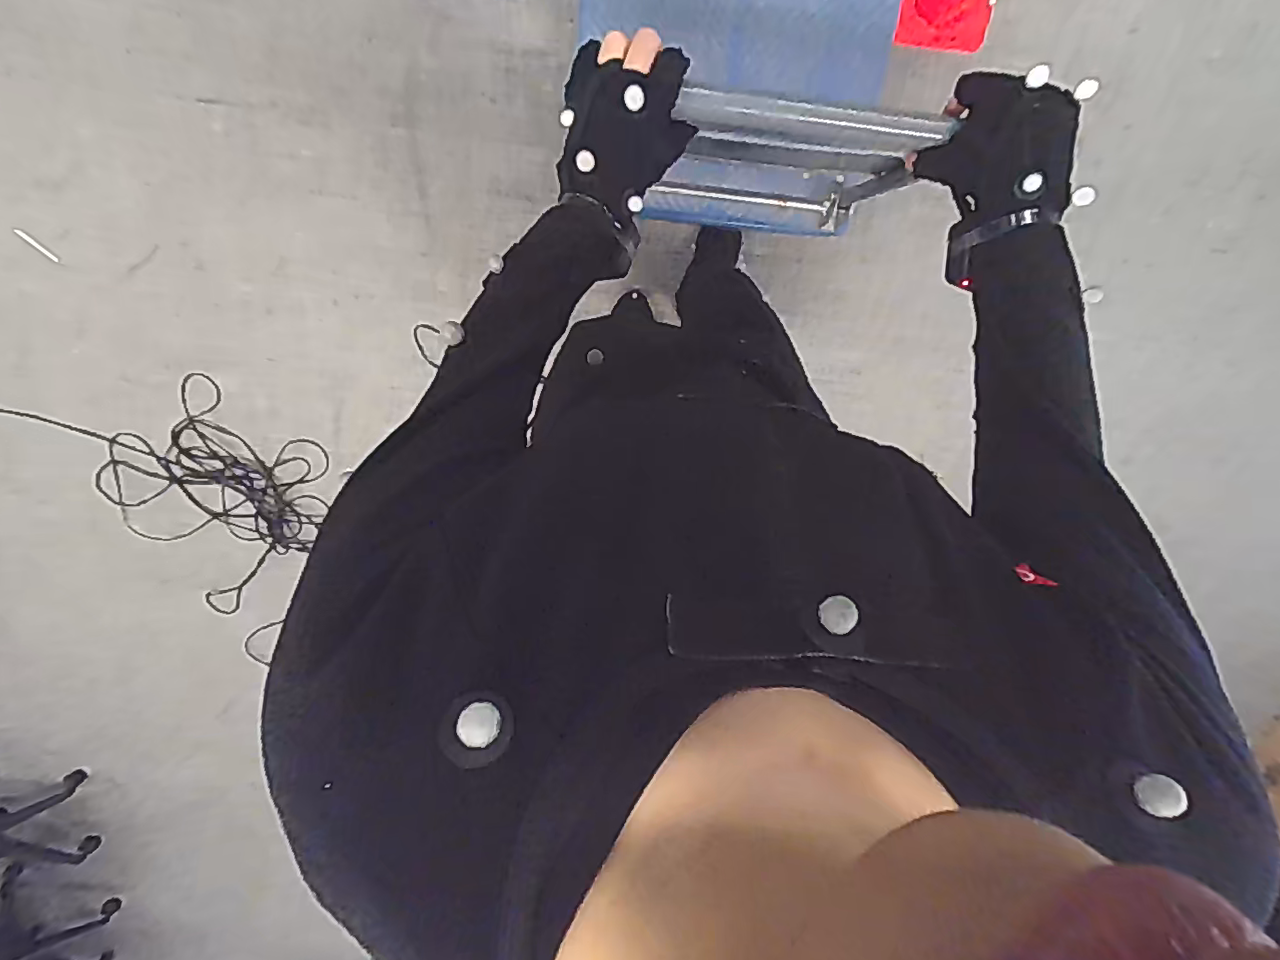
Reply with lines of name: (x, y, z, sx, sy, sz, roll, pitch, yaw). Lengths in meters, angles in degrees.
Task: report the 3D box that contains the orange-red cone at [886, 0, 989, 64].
orange-red cone: (0.630, -0.932, 0.970, 0.199, 0.360, 0.198, 6, 112, -2)
